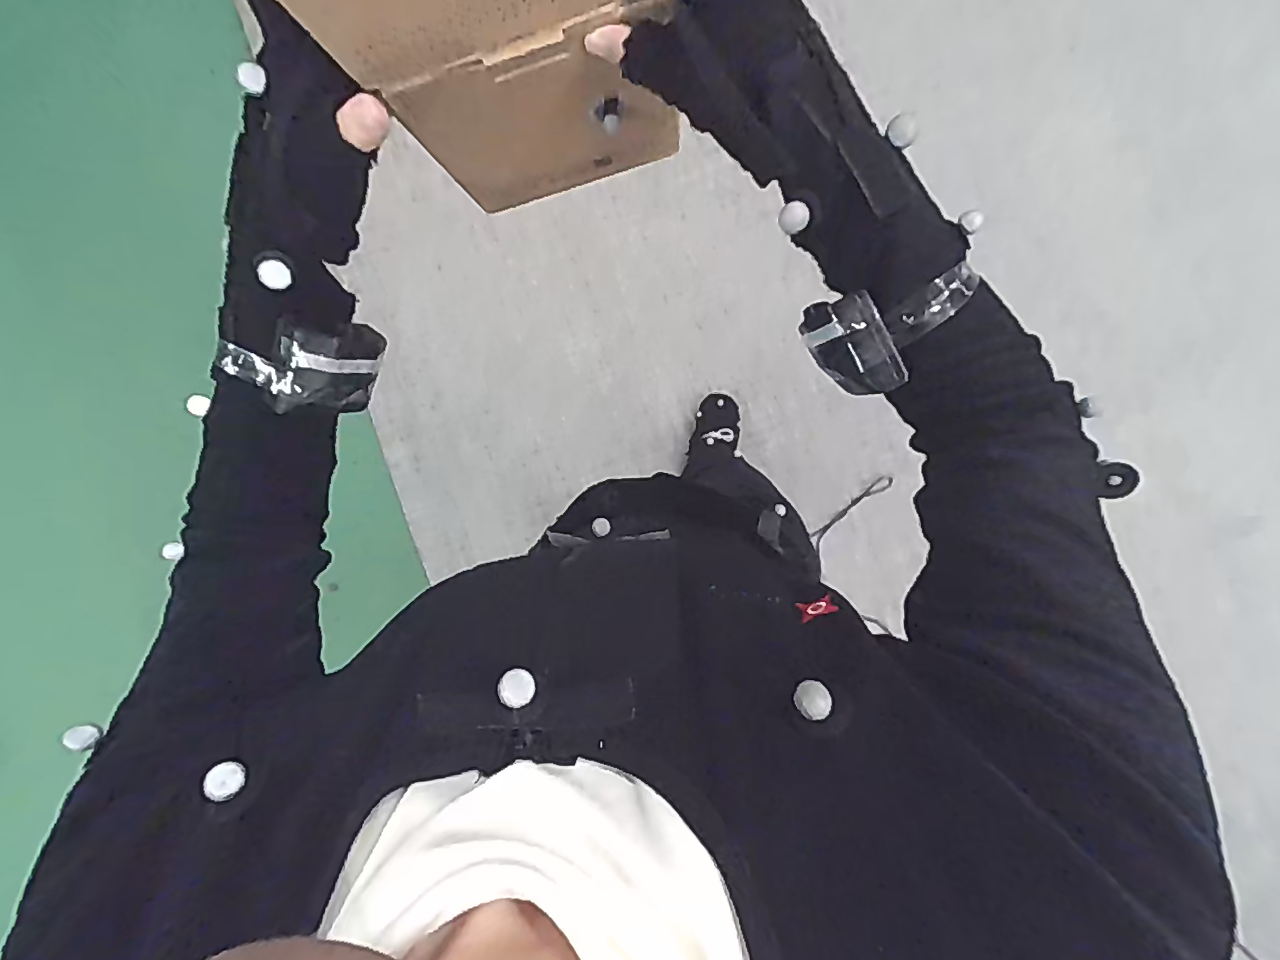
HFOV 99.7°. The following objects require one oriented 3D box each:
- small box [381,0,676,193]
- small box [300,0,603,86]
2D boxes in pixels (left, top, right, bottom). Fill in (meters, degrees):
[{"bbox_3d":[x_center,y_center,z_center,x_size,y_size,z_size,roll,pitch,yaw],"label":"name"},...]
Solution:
[{"bbox_3d":[-0.075,-0.319,0.358,0.168,0.176,0.179,-15,94,6],"label":"small box"},{"bbox_3d":[-0.087,-0.298,0.195,0.179,0.176,0.168,-19,95,6],"label":"small box"}]
